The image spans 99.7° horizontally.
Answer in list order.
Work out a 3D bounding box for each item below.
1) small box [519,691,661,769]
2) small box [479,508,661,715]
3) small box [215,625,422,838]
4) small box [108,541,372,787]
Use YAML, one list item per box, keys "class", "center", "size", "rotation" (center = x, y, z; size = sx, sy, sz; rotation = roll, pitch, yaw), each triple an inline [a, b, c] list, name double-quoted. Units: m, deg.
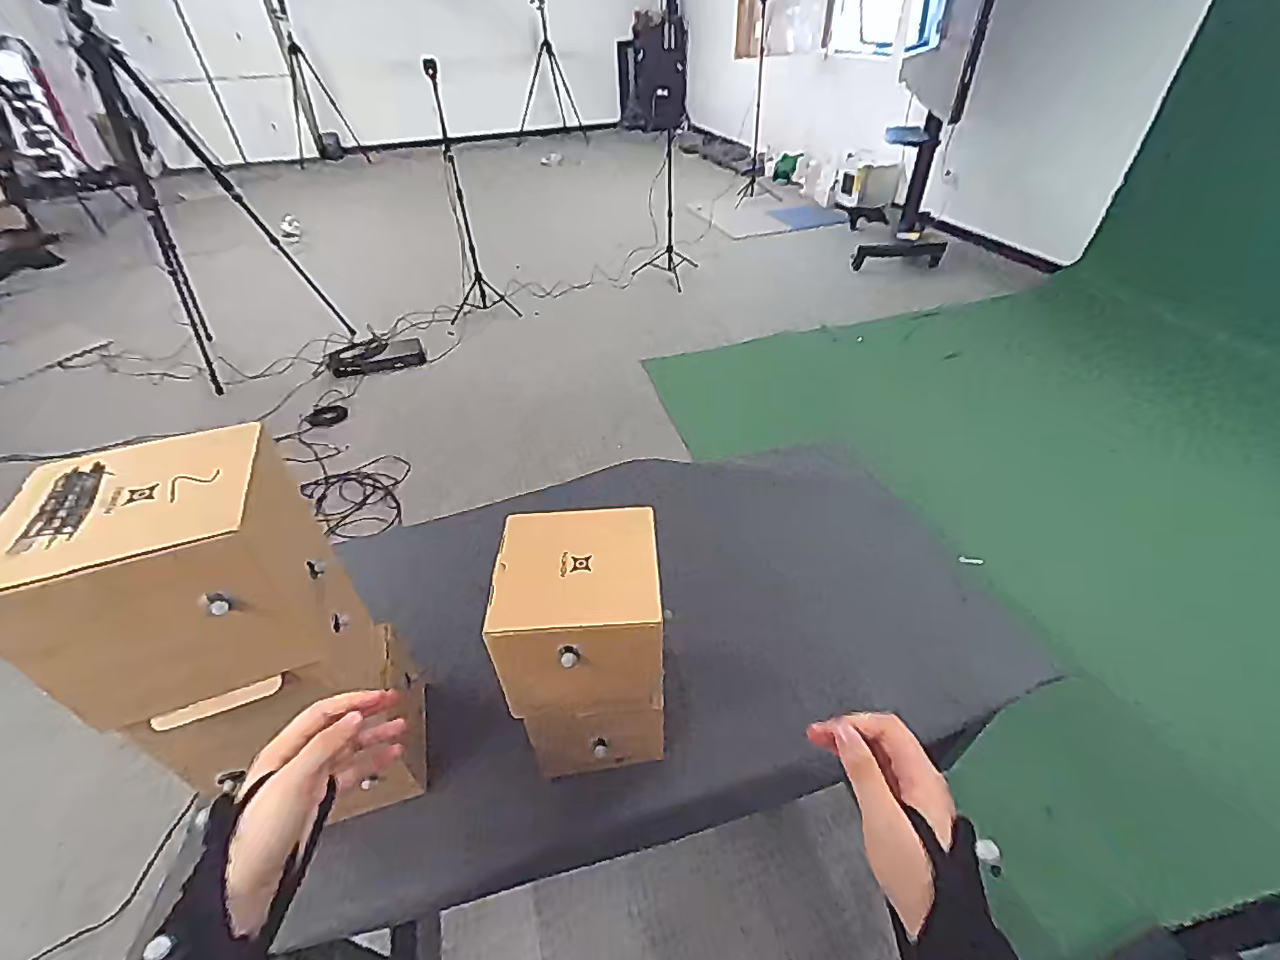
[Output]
- class: "small box"
  center: [-0.066, 0.272, 0.740]
  size: [0.168, 0.176, 0.179]
  rotation: [-8, 41, -4]
- class: "small box"
  center: [-0.067, 0.153, 0.628]
  size: [0.179, 0.176, 0.168]
  rotation: [-5, 40, 0]
- class: "small box"
  center: [-0.392, 0.324, 0.702]
  size: [0.179, 0.176, 0.168]
  rotation: [-15, 41, -12]
- class: "small box"
  center: [-0.407, 0.202, 0.592]
  size: [0.168, 0.176, 0.179]
  rotation: [-16, 40, -16]
